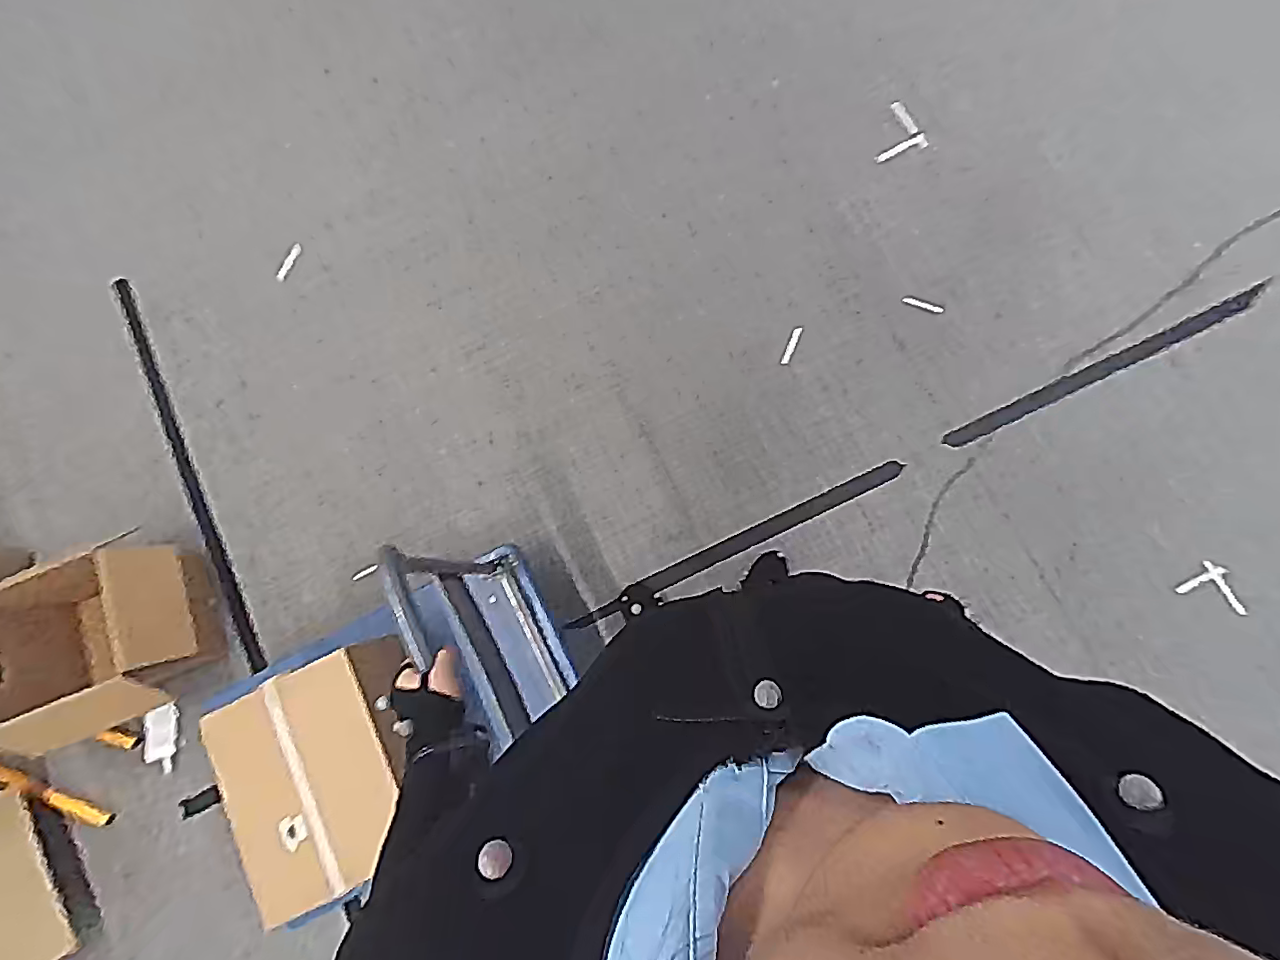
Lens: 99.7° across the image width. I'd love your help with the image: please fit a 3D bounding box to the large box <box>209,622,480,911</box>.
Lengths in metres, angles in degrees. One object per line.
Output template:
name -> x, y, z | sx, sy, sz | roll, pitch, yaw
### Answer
large box -> -0.607, 0.573, 1.171 | 0.320, 0.320, 0.408 | -27, 82, 0
